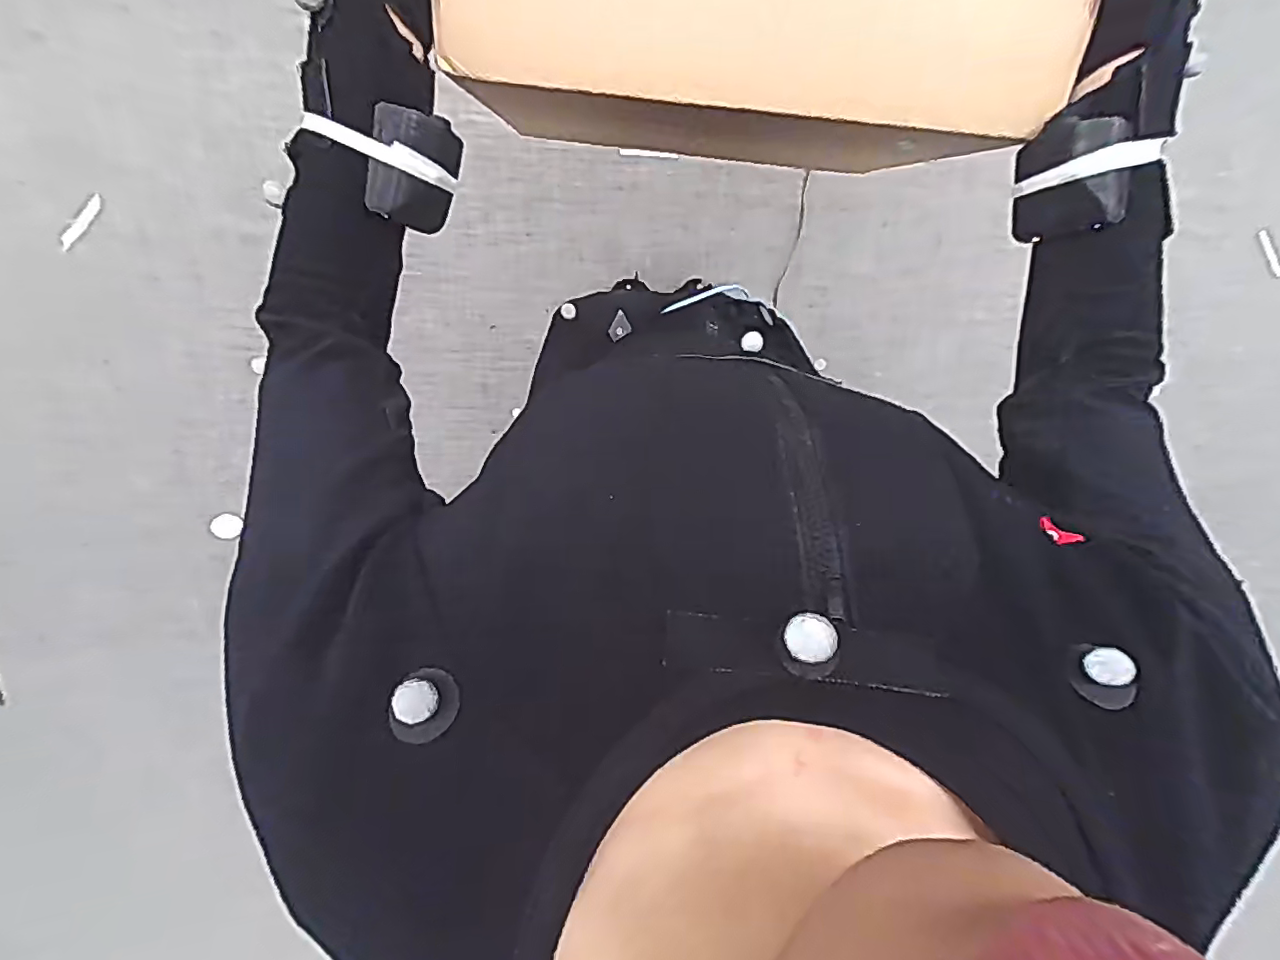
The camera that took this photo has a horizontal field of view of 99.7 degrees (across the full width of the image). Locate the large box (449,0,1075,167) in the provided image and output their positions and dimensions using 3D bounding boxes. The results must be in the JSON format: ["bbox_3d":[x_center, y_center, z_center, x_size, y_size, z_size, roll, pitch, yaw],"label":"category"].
[{"bbox_3d":[0.080,-0.452,0.430,0.408,0.320,0.320,4,117,-5],"label":"large box"}]
